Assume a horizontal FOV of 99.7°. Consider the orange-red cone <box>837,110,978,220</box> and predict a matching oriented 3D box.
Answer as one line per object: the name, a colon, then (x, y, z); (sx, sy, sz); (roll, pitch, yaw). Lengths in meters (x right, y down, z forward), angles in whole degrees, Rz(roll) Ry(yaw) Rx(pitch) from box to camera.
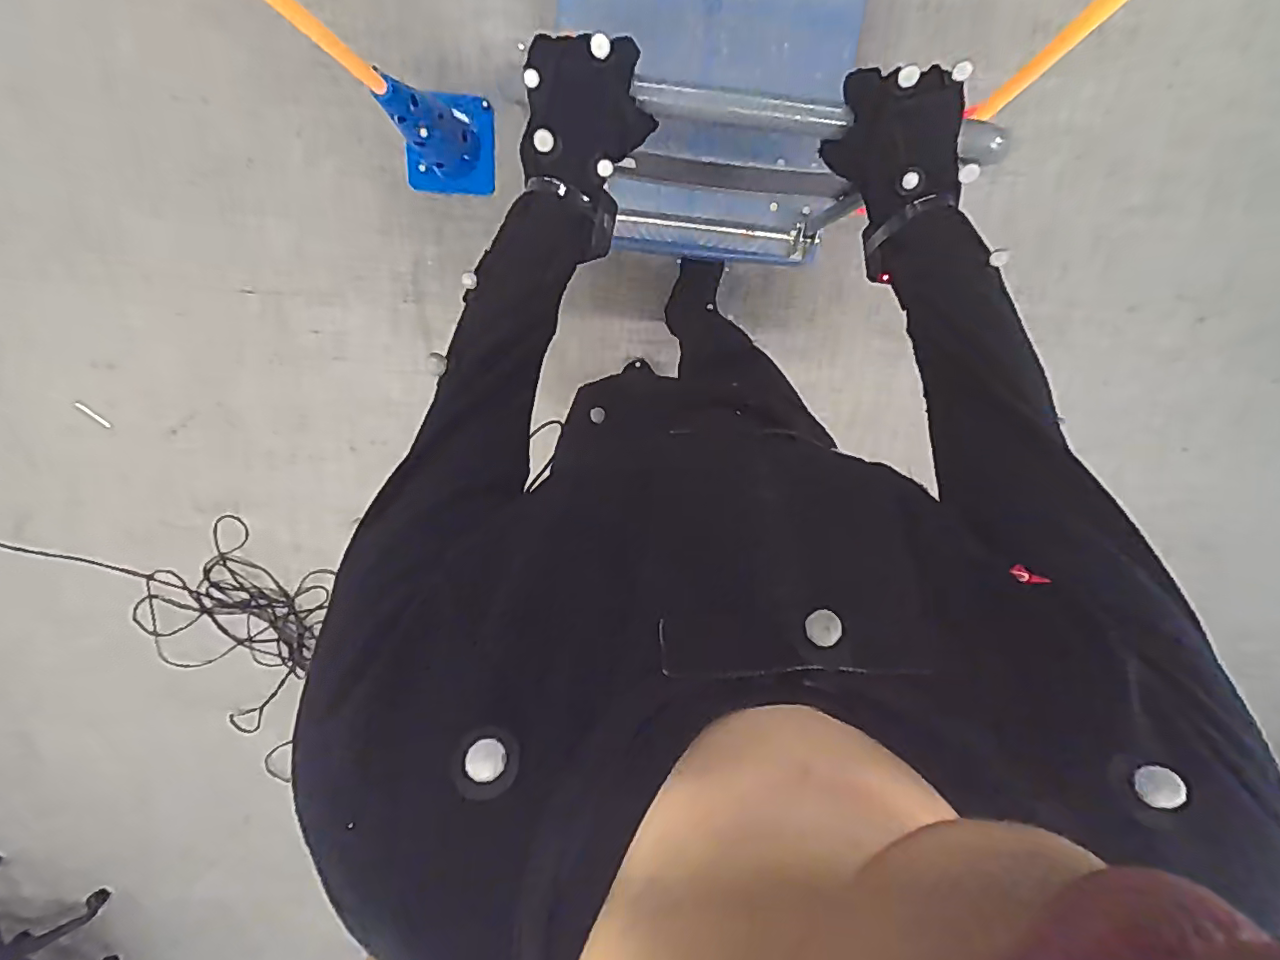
orange-red cone: (0.570, -0.673, 1.107); (0.199, 0.360, 0.198); (4, 107, 0)
